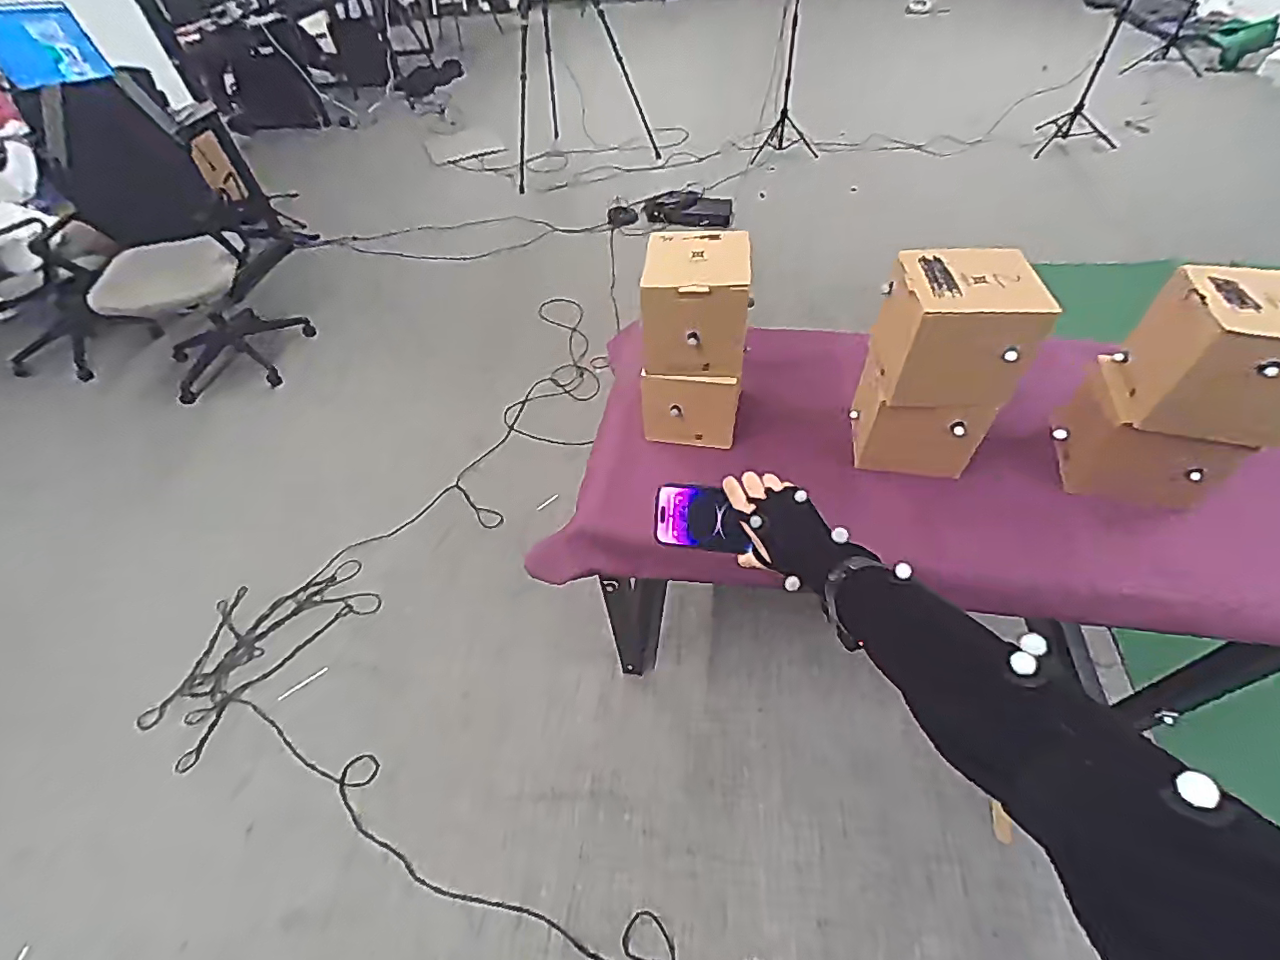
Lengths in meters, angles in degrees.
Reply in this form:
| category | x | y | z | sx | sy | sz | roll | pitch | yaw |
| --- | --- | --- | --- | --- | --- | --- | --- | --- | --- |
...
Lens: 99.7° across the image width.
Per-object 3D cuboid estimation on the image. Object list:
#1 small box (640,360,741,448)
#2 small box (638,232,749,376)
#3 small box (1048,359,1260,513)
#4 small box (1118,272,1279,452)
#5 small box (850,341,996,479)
| category | x | y | z | sx | sy | sz | roll | pitch | yaw |
| --- | --- | --- | --- | --- | --- | --- | --- | --- | --- |
| small box | 0.103 | -0.182 | 1.030 | 0.168 | 0.176 | 0.179 | 8 | 51 | 11 |
| small box | 0.094 | -0.293 | 0.909 | 0.168 | 0.176 | 0.179 | 4 | 52 | 7 |
| small box | 0.808 | -0.067 | 0.874 | 0.179 | 0.176 | 0.168 | 12 | 52 | 15 |
| small box | 0.803 | -0.158 | 0.738 | 0.179 | 0.176 | 0.168 | 12 | 52 | 14 |
| small box | 0.479 | -0.120 | 0.944 | 0.179 | 0.176 | 0.168 | 7 | 51 | 11 |
